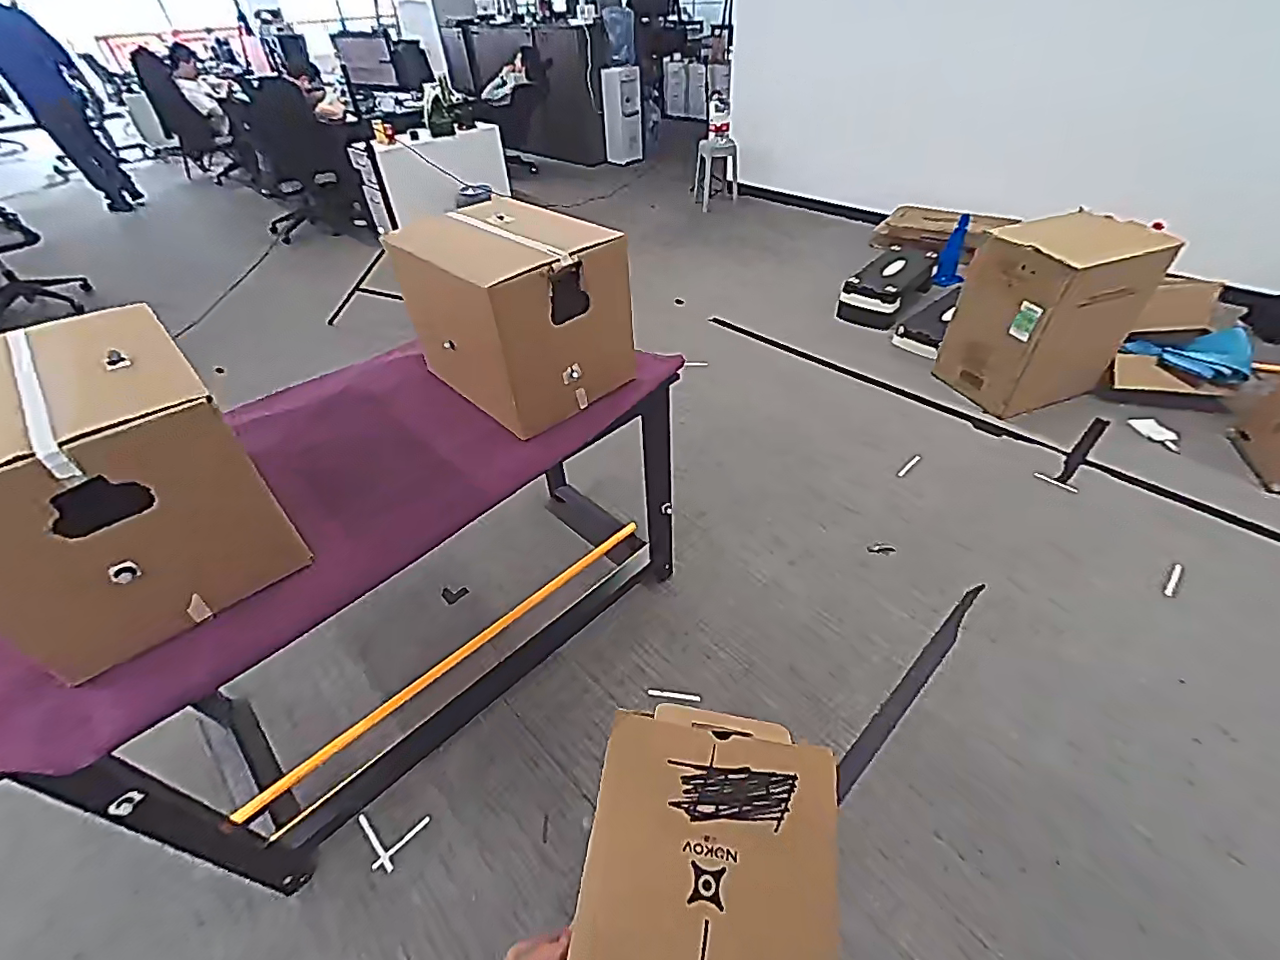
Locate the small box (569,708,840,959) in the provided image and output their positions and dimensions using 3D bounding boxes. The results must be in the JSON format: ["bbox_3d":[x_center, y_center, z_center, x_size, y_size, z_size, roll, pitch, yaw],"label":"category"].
[{"bbox_3d":[0.049,0.301,0.421,0.168,0.176,0.179,7,55,7],"label":"small box"}]

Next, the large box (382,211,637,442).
[{"bbox_3d":[-0.258,-0.337,1.140,0.320,0.320,0.408,-35,49,-30],"label":"large box"}]
